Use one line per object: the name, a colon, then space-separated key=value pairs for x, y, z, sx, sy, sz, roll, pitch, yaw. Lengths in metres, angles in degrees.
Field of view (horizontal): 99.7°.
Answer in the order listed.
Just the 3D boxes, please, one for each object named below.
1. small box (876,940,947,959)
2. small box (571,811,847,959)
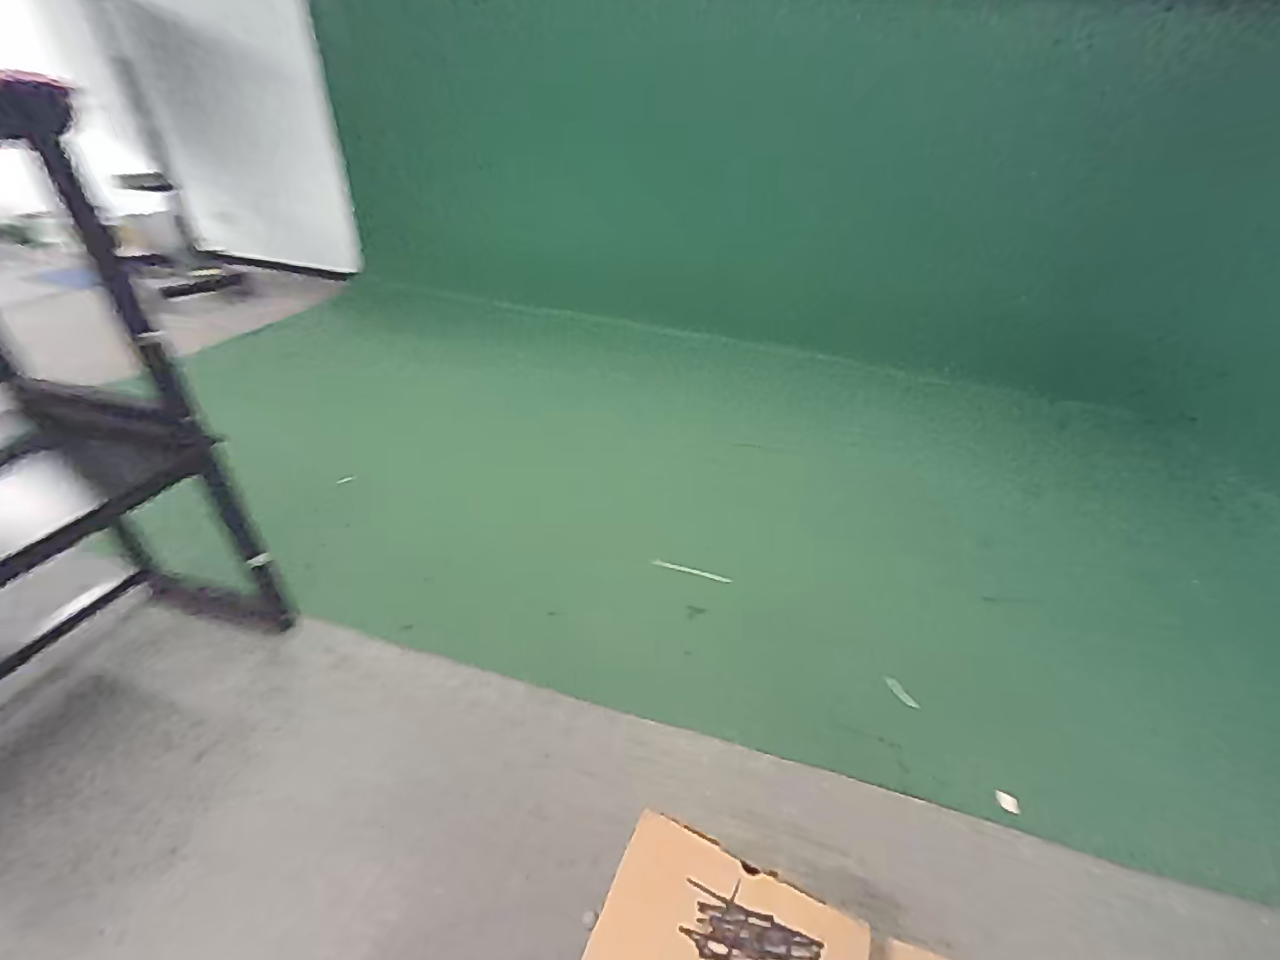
small box: x=0.510 y=0.964 z=0.951 sx=0.179 sy=0.176 sz=0.168 roll=12 pitch=36 yaw=12
small box: x=0.029 y=0.383 z=0.391 sx=0.168 sy=0.176 sz=0.179 roll=19 pitch=51 yaw=15
